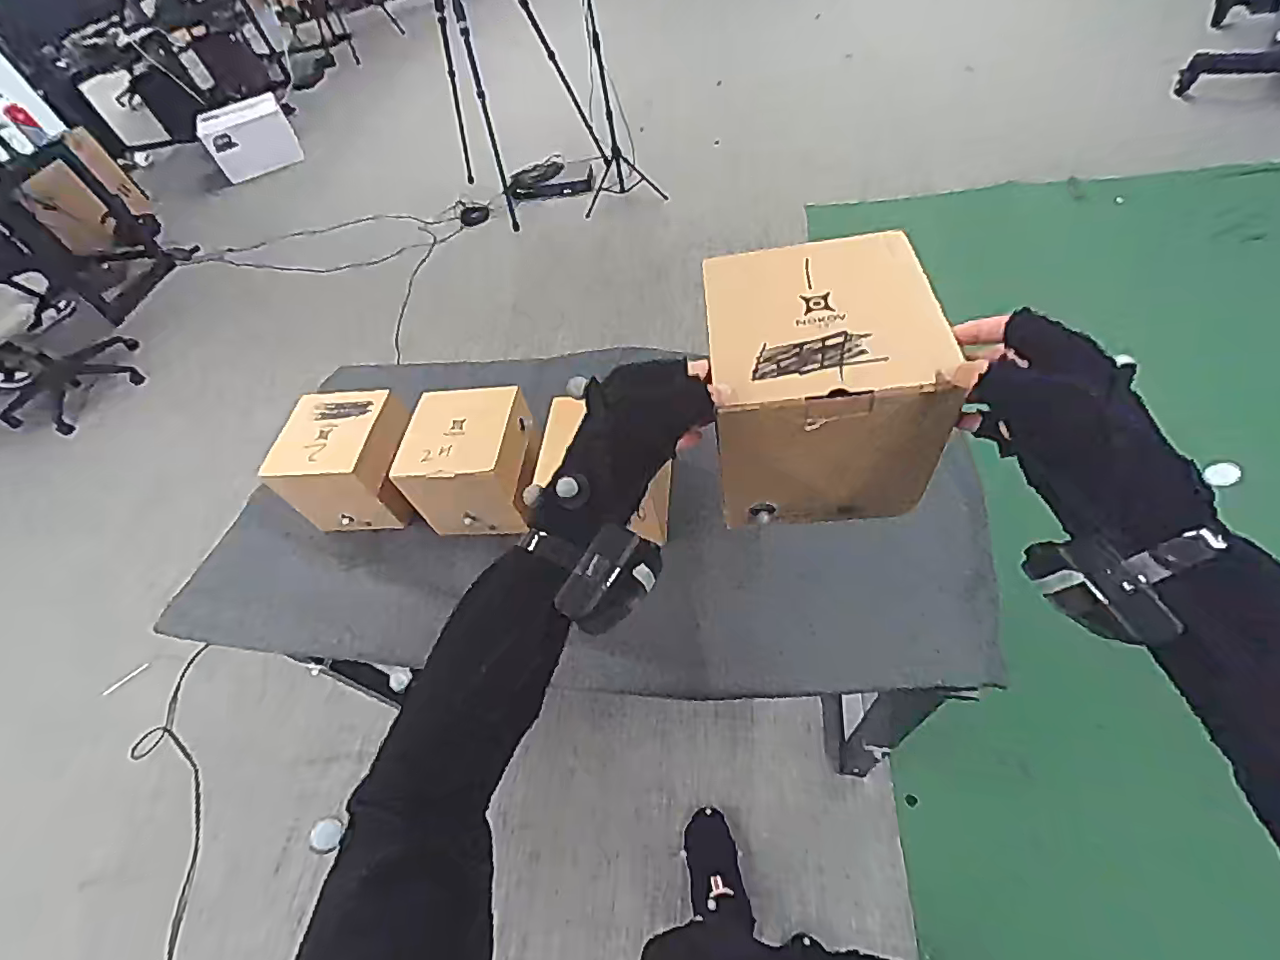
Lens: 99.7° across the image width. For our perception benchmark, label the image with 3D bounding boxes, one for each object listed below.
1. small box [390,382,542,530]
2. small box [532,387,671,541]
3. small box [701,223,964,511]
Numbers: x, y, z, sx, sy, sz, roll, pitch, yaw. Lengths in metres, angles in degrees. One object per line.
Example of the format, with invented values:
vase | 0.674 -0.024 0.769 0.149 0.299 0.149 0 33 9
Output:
small box | -0.263 -0.036 0.877 0.168 0.176 0.179 -2 54 10
small box | -0.046 -0.017 0.823 0.168 0.176 0.179 -2 53 10
small box | 0.144 -0.084 0.464 0.168 0.176 0.179 -5 54 9
